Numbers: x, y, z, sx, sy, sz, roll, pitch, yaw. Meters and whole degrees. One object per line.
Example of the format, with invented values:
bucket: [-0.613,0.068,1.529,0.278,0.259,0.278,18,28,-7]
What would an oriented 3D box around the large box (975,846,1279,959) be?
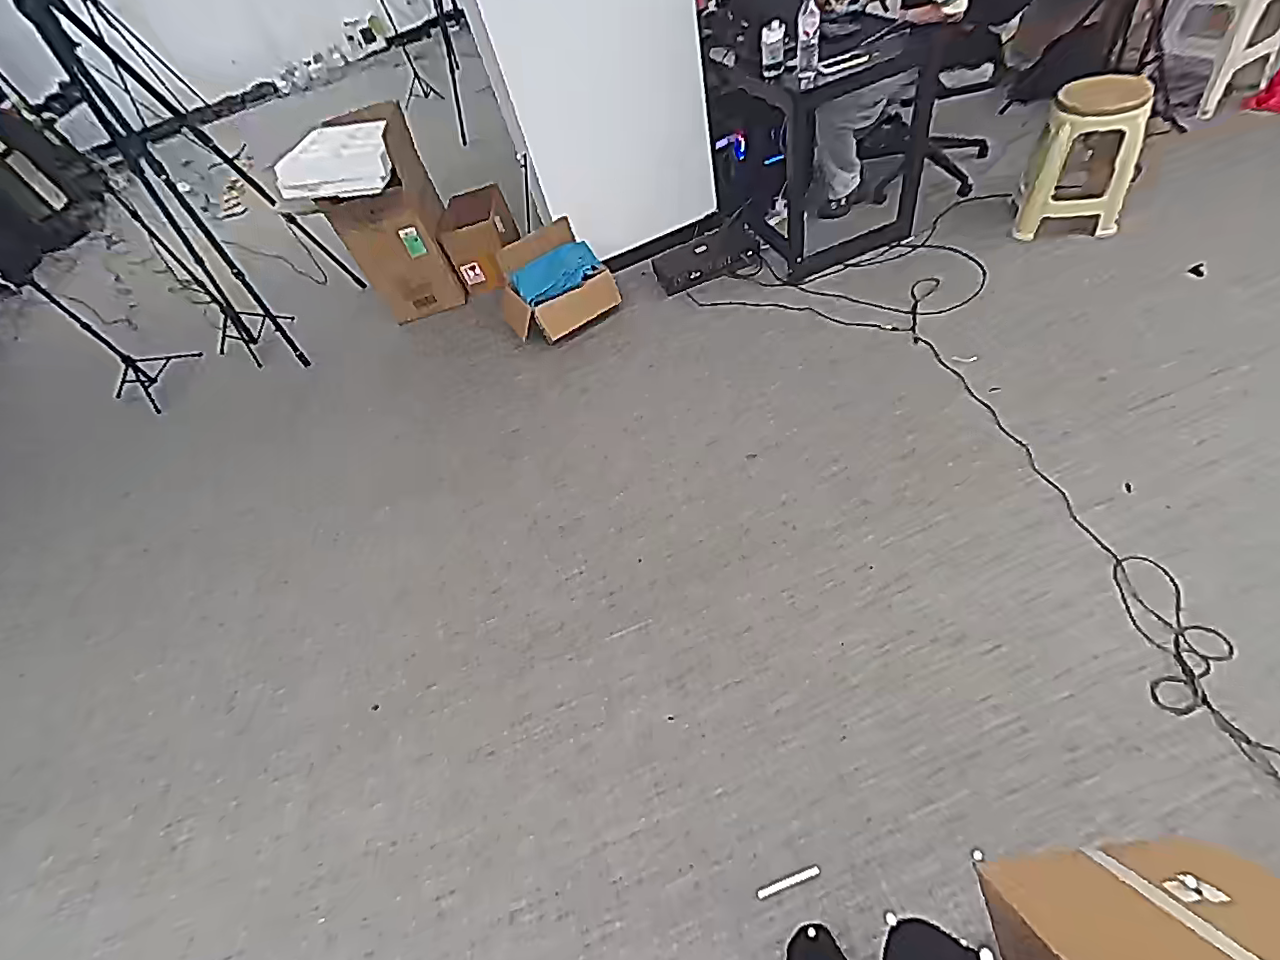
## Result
large box: [0.640,0.648,0.560,0.320,0.408,0.320,-10,75,7]
